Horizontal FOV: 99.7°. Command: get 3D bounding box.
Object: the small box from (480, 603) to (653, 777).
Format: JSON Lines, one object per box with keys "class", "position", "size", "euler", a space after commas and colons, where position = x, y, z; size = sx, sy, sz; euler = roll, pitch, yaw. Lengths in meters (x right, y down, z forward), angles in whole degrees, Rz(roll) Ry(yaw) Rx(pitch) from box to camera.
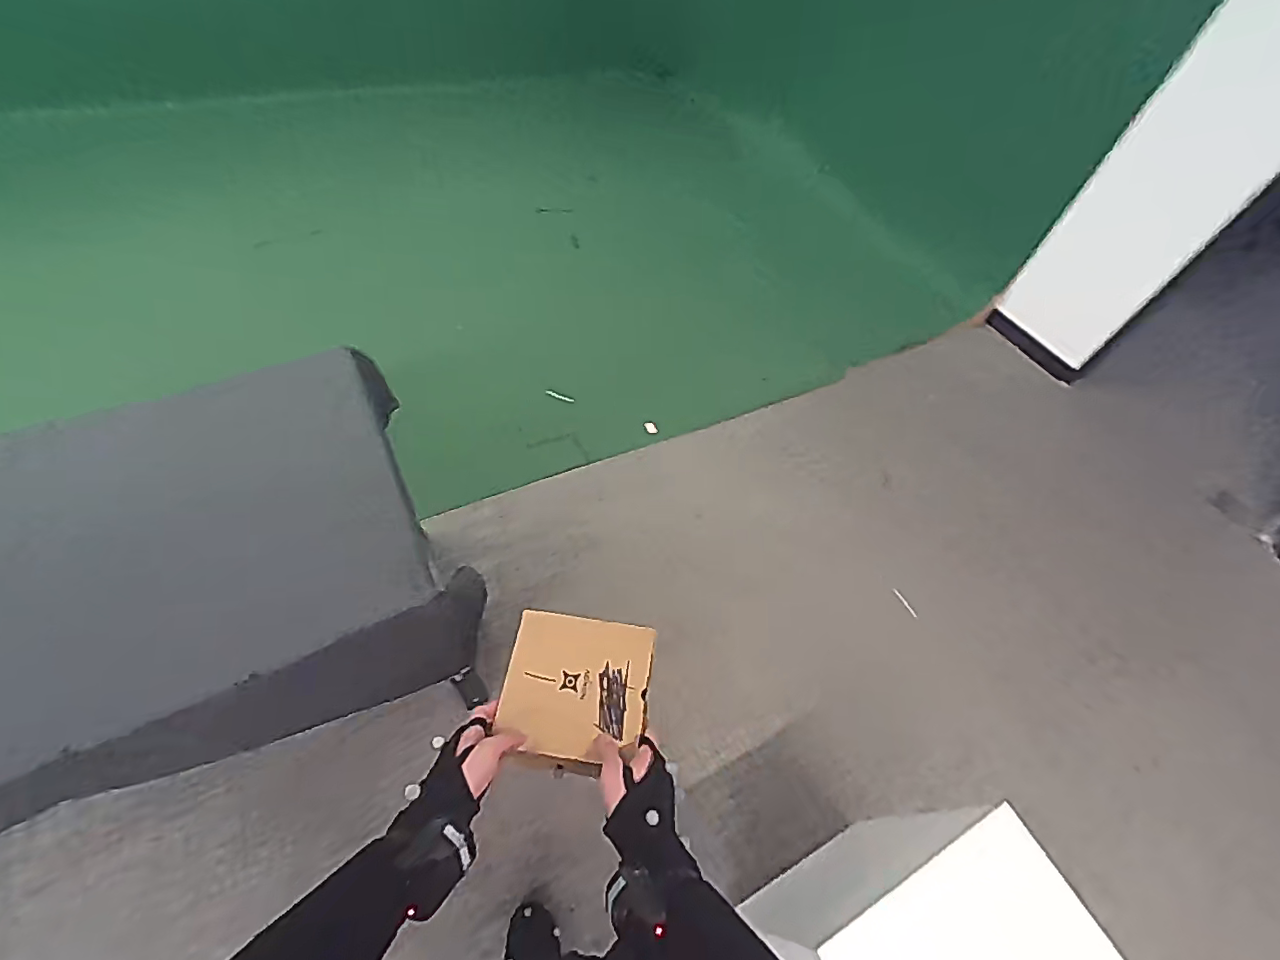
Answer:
{"class": "small box", "position": [-0.085, 0.279, 0.705], "size": [0.179, 0.176, 0.168], "euler": [8, 56, 2]}
